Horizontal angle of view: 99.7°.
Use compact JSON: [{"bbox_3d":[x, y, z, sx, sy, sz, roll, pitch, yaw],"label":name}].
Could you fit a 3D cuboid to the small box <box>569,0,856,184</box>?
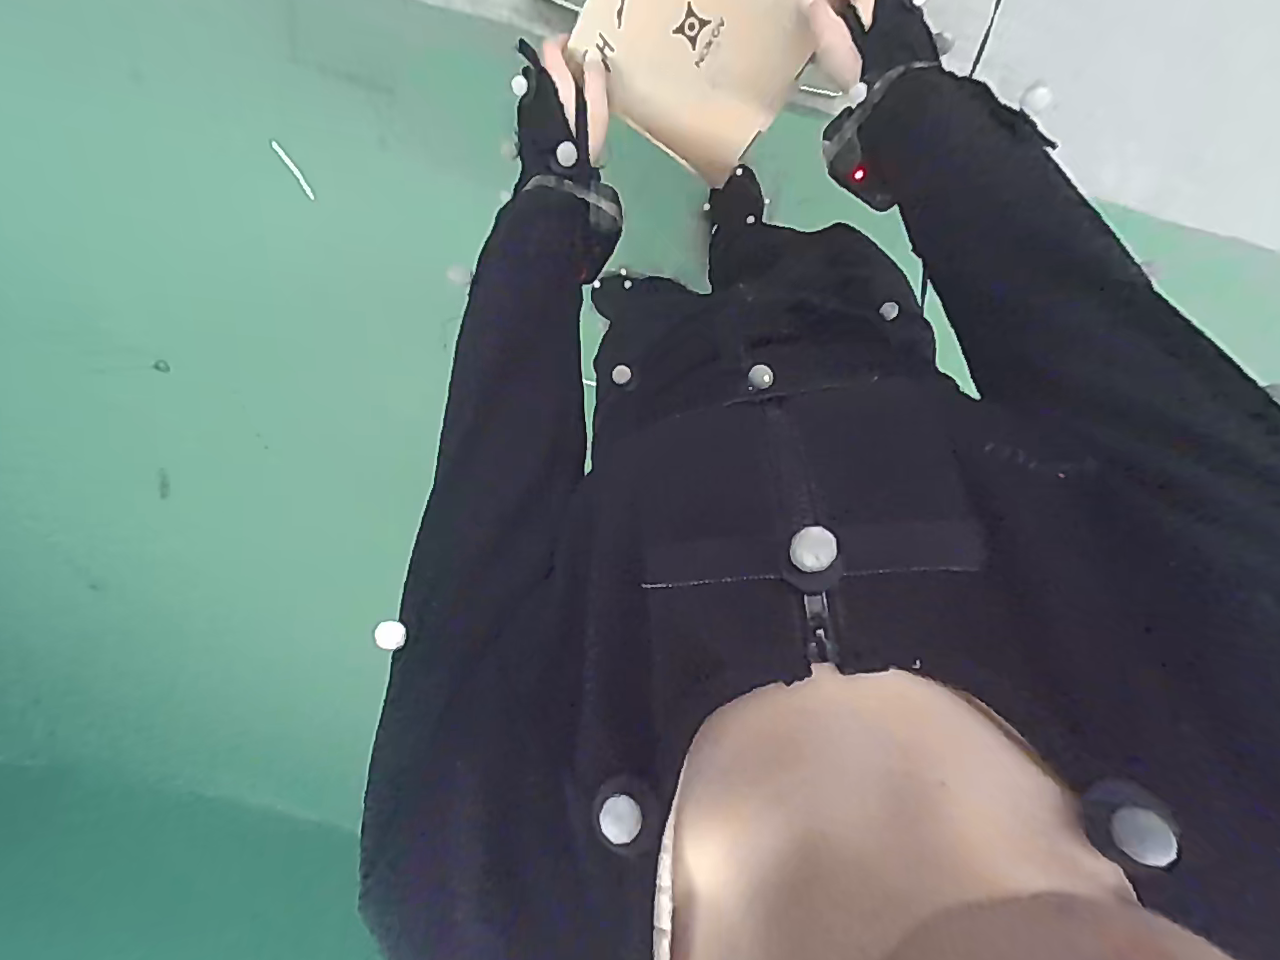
[{"bbox_3d":[0.056,-0.419,0.492,0.179,0.176,0.168,26,129,-23],"label":"small box"}]
